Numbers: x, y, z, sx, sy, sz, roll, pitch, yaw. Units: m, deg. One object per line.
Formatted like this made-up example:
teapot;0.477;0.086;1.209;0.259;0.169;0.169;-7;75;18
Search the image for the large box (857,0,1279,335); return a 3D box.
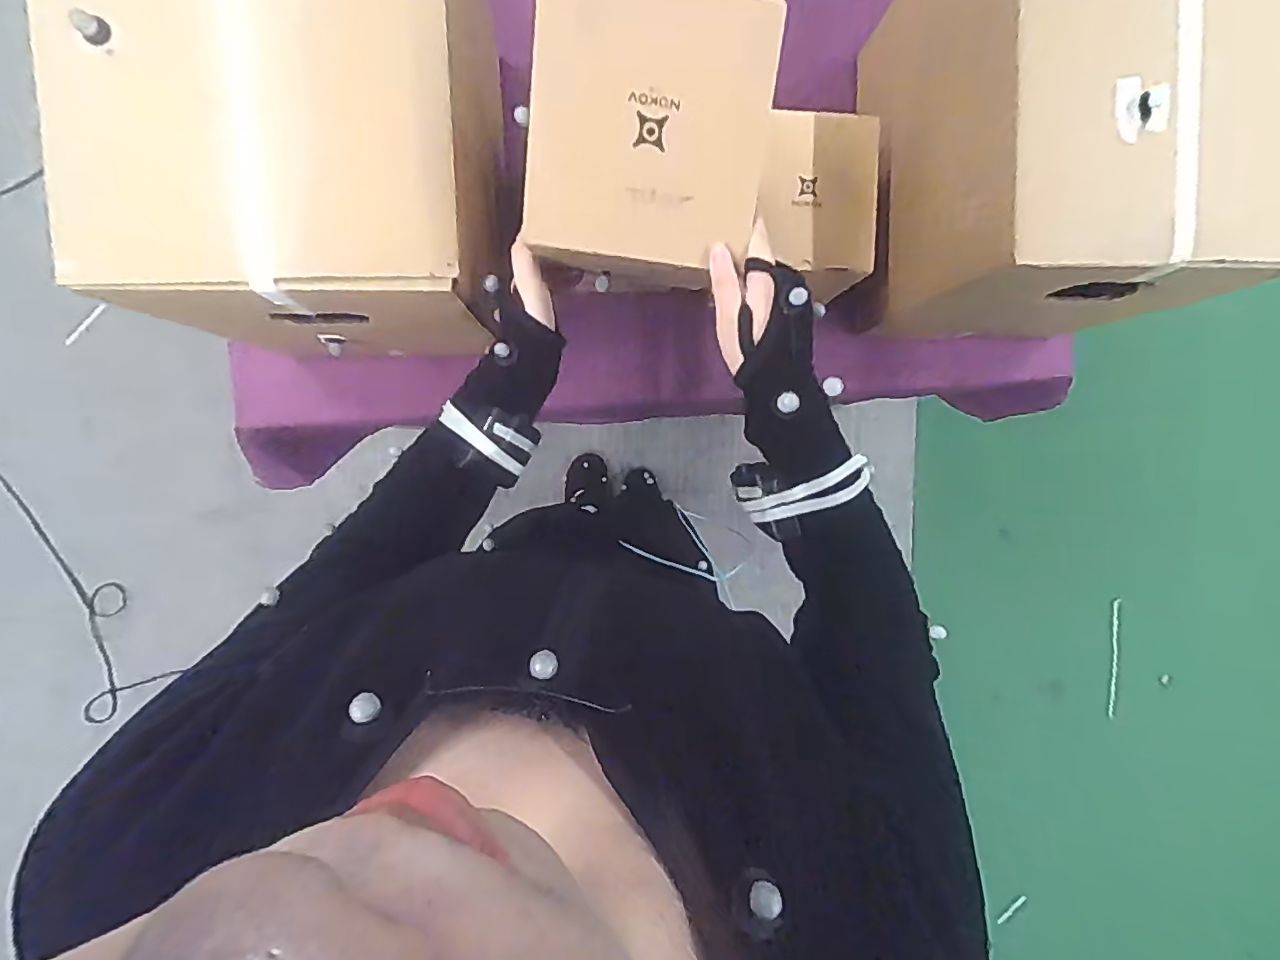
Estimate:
large box;0.480;-0.407;0.653;0.320;0.320;0.408;-1;94;-5
